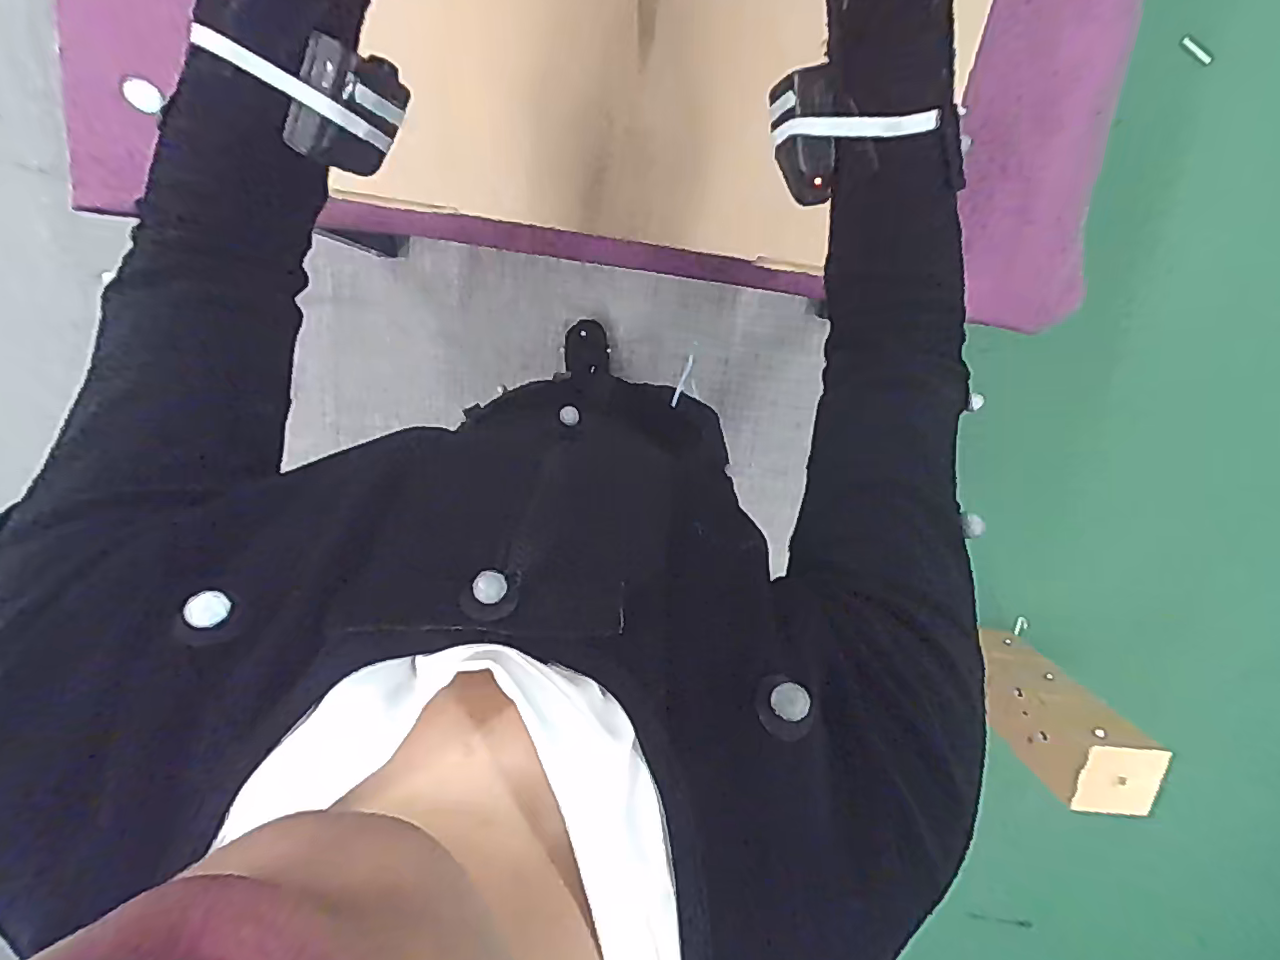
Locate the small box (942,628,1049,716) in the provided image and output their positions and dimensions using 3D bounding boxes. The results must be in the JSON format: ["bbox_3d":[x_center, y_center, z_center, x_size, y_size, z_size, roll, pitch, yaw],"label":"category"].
[{"bbox_3d":[1.000,0.540,1.540,0.179,0.176,0.168,8,104,-3],"label":"small box"}]

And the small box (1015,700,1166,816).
[{"bbox_3d":[1.005,0.621,1.222,0.179,0.176,0.168,5,104,-2],"label":"small box"}]
